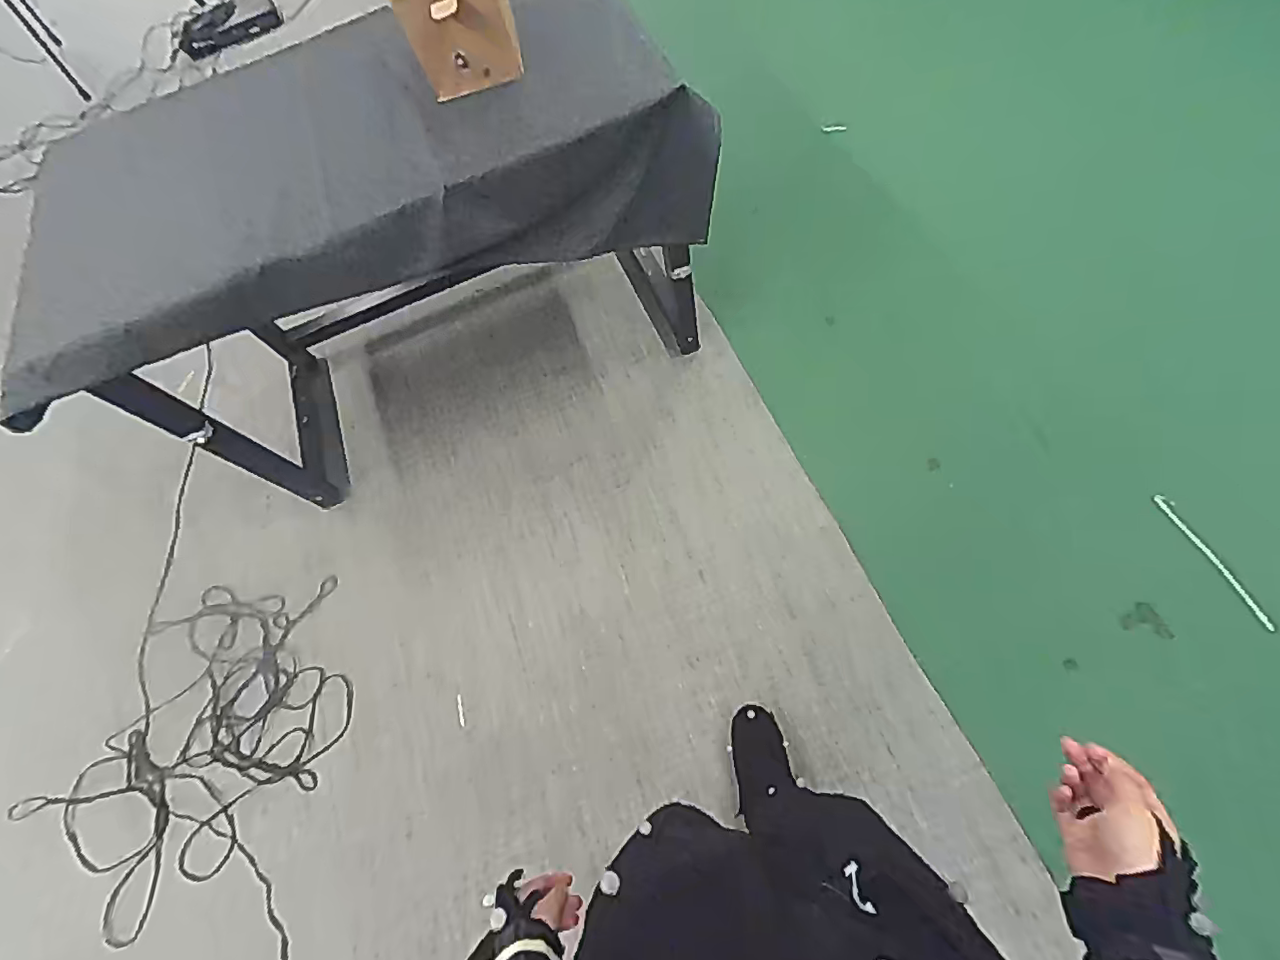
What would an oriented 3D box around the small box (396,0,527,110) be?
[{"bbox_3d":[-0.310,-0.808,0.961,0.168,0.176,0.179,-14,65,4],"label":"small box"}]
